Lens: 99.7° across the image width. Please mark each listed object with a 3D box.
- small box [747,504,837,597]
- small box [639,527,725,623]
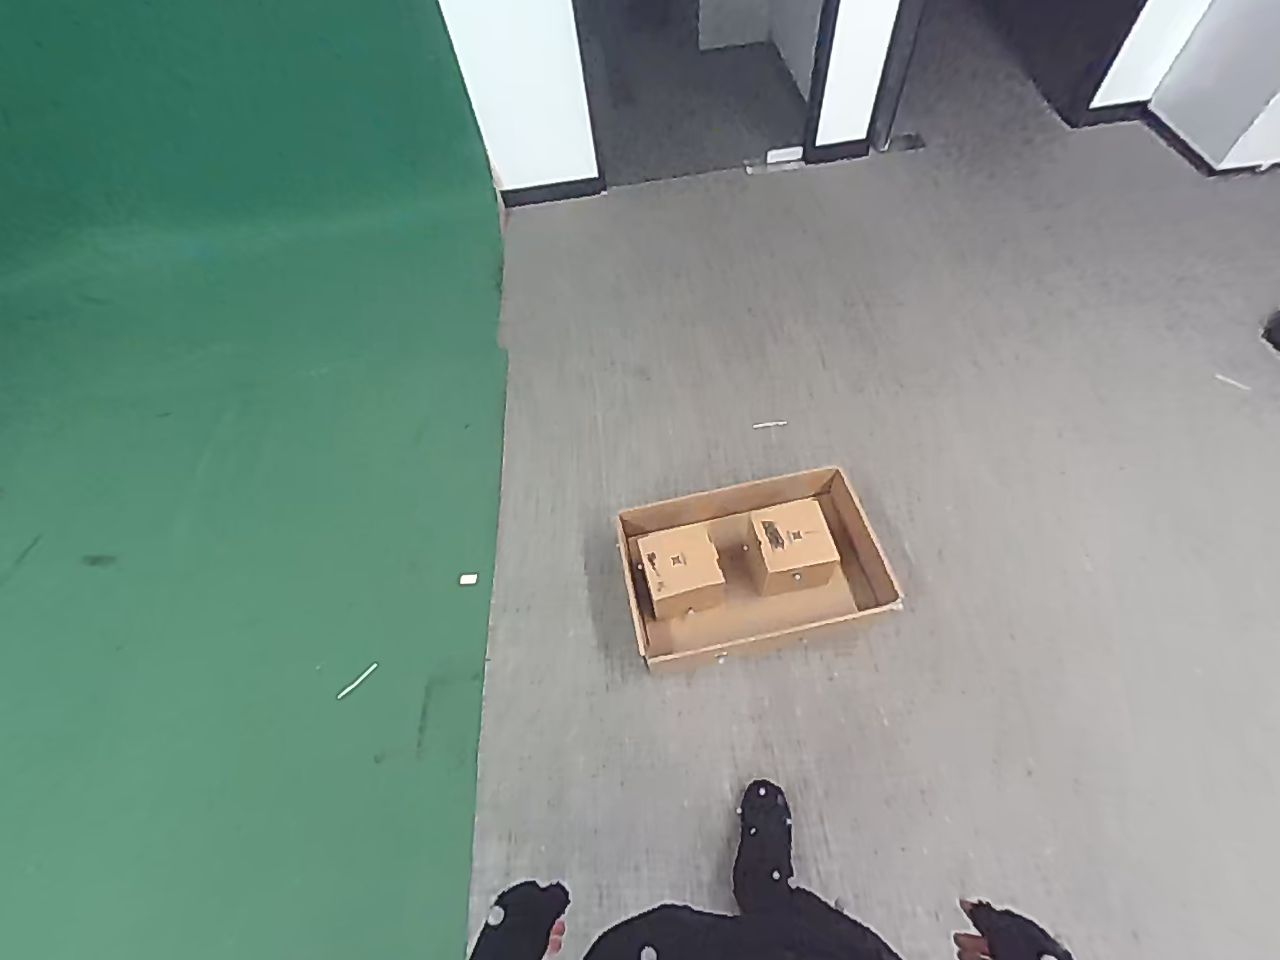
[{"bbox_3d":[0.376,0.185,1.376,0.179,0.176,0.168,-11,58,0],"label":"small box"},{"bbox_3d":[0.101,0.244,1.368,0.179,0.176,0.168,-13,57,-4],"label":"small box"}]
